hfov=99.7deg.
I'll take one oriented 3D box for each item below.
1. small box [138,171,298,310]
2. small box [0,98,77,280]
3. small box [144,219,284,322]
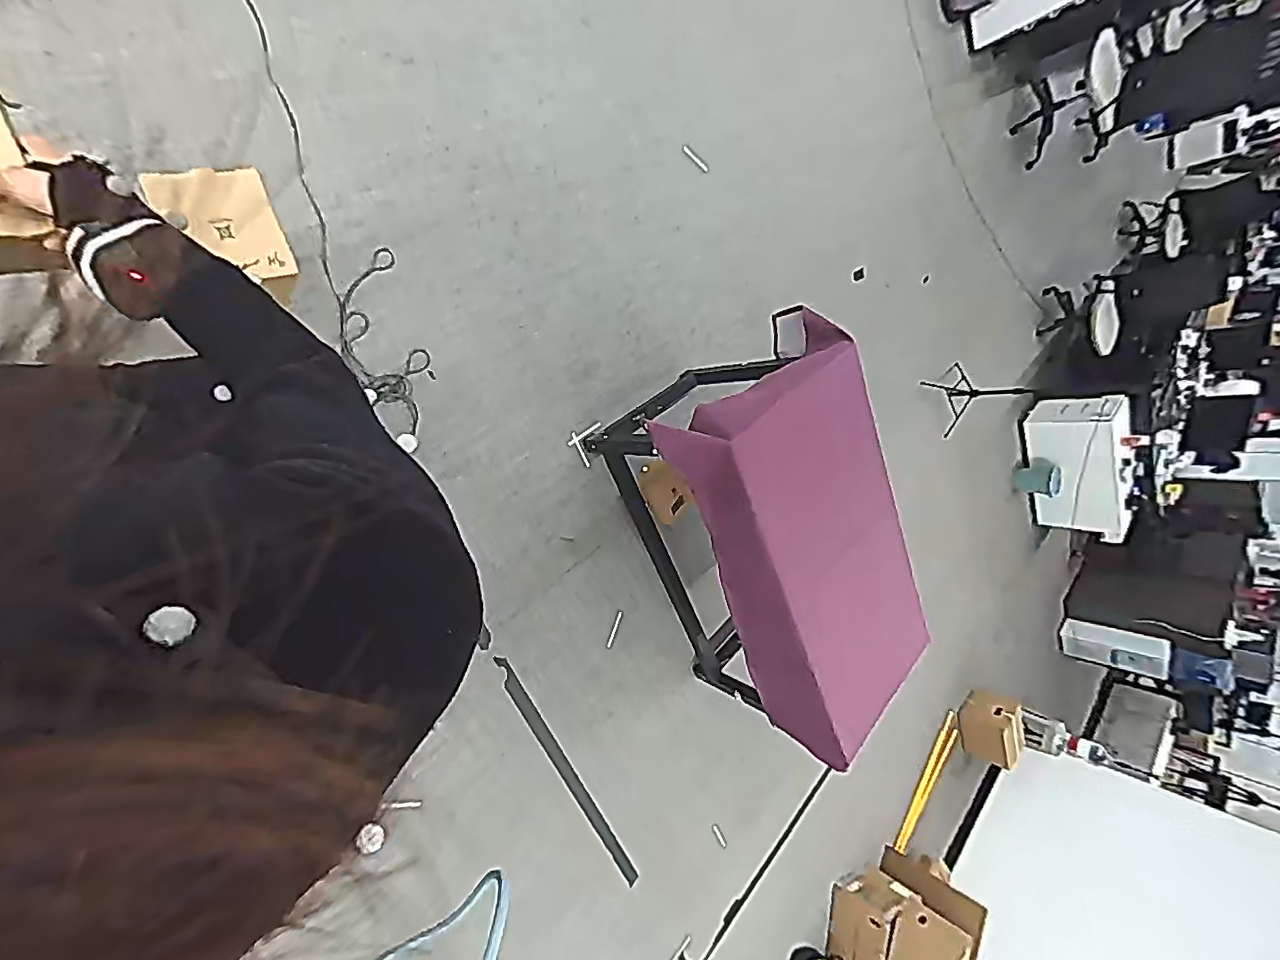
[{"bbox_3d":[-0.739,-0.419,0.958,0.168,0.176,0.179,-26,108,-32],"label":"small box"},{"bbox_3d":[-0.671,-0.287,0.496,0.168,0.176,0.179,-25,112,-36],"label":"small box"},{"bbox_3d":[-0.837,-0.434,1.089,0.179,0.176,0.168,-34,113,-30],"label":"small box"}]
